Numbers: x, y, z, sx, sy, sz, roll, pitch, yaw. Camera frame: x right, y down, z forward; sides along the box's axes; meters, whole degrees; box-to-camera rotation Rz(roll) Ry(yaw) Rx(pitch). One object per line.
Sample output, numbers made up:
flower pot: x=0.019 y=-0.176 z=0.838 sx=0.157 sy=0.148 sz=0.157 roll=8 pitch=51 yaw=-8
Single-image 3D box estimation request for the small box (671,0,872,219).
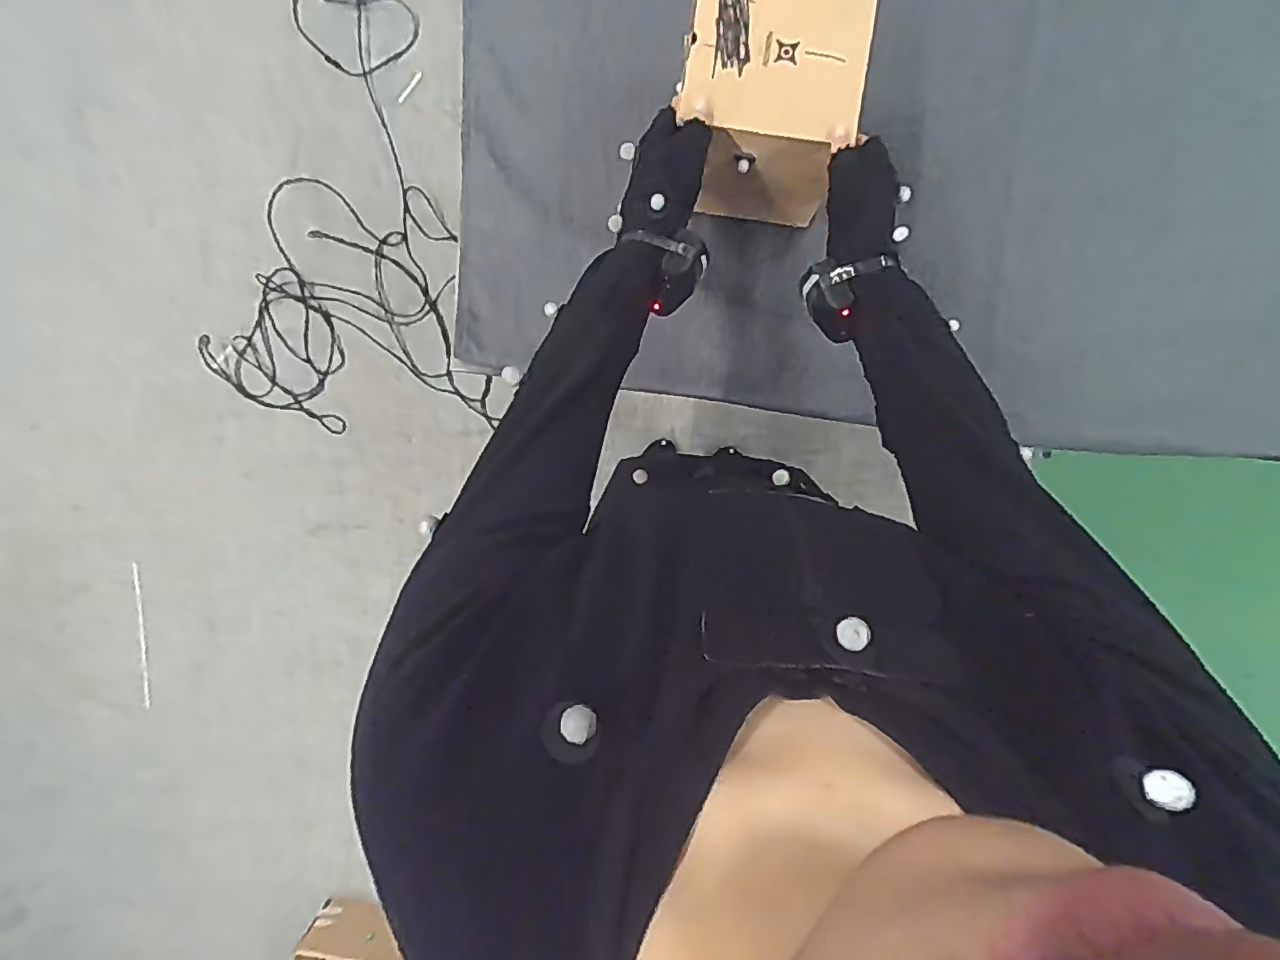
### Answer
small box: x=0.132 y=-0.418 z=0.605 sx=0.179 sy=0.176 sz=0.168 roll=9 pitch=89 yaw=0
